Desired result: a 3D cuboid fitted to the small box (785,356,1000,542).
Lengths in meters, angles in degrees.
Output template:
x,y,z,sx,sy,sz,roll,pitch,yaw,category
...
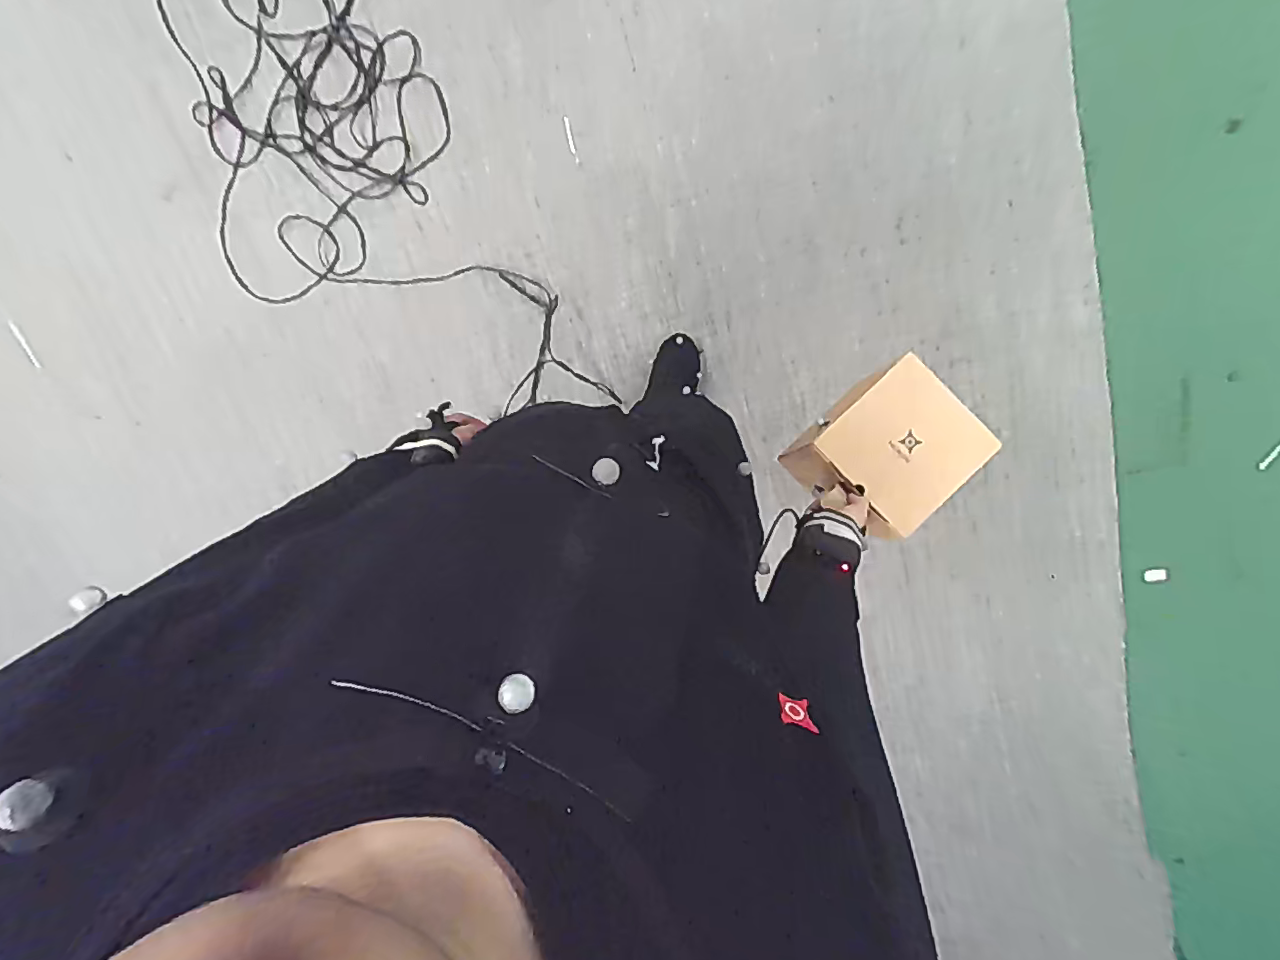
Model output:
x,y,z,sx,sy,sz,roll,pitch,yaw,category
0.329,-0.035,0.746,0.179,0.176,0.168,-43,87,-3,small box
